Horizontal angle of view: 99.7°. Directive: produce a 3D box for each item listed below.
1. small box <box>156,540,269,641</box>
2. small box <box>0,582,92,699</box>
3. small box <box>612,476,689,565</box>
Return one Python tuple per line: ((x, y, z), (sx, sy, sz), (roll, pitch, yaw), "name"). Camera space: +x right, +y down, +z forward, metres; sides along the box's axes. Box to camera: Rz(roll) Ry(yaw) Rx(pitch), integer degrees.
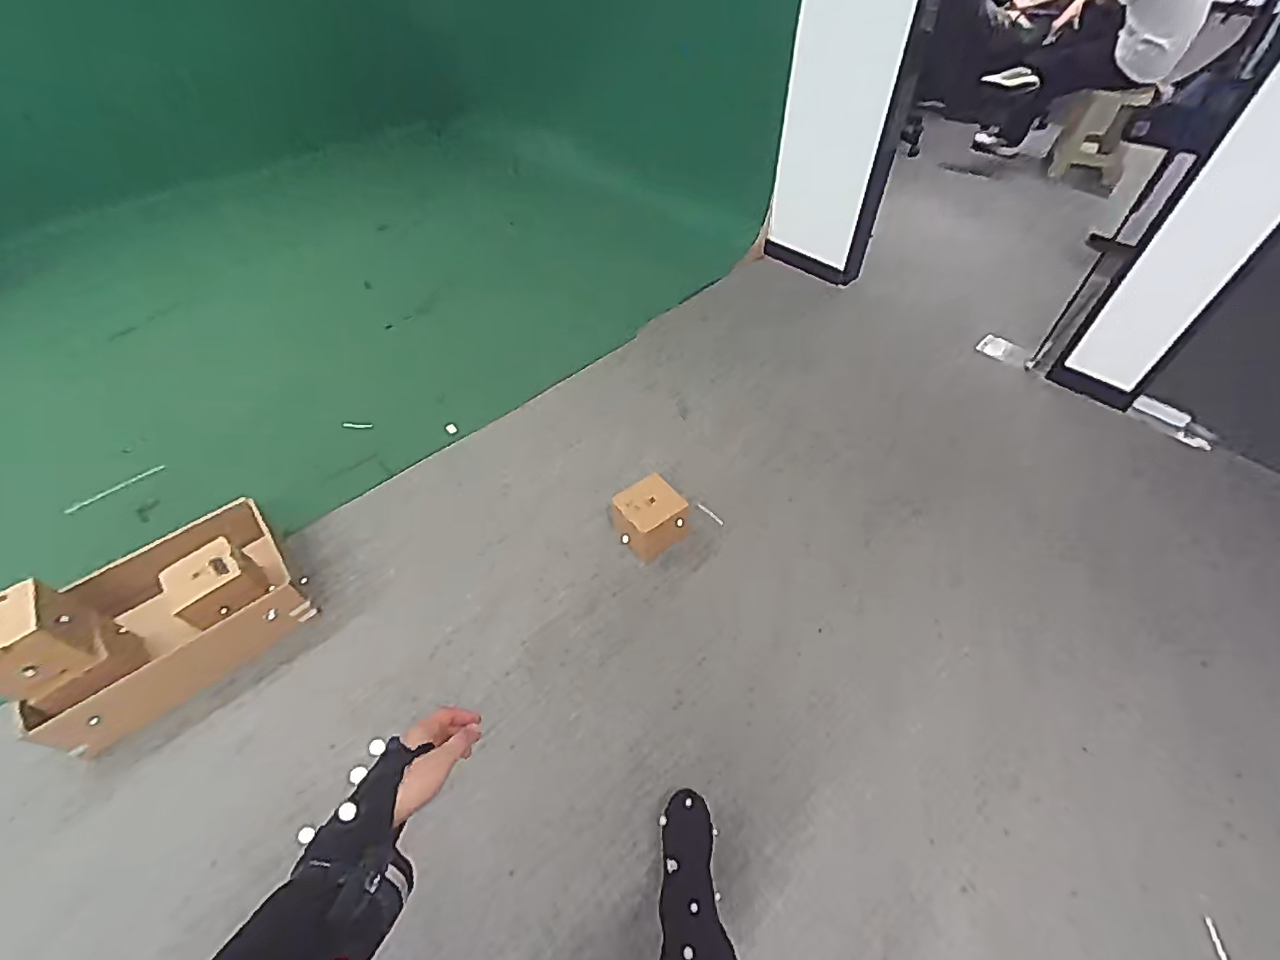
((-1.167, 0.307, 1.492), (0.179, 0.176, 0.168), (-35, 59, -23), "small box")
((-1.416, 0.375, 1.236), (0.168, 0.176, 0.179), (-33, 58, -22), "small box")
((0.031, 0.126, 1.661), (0.179, 0.176, 0.168), (-31, 56, -21), "small box")
